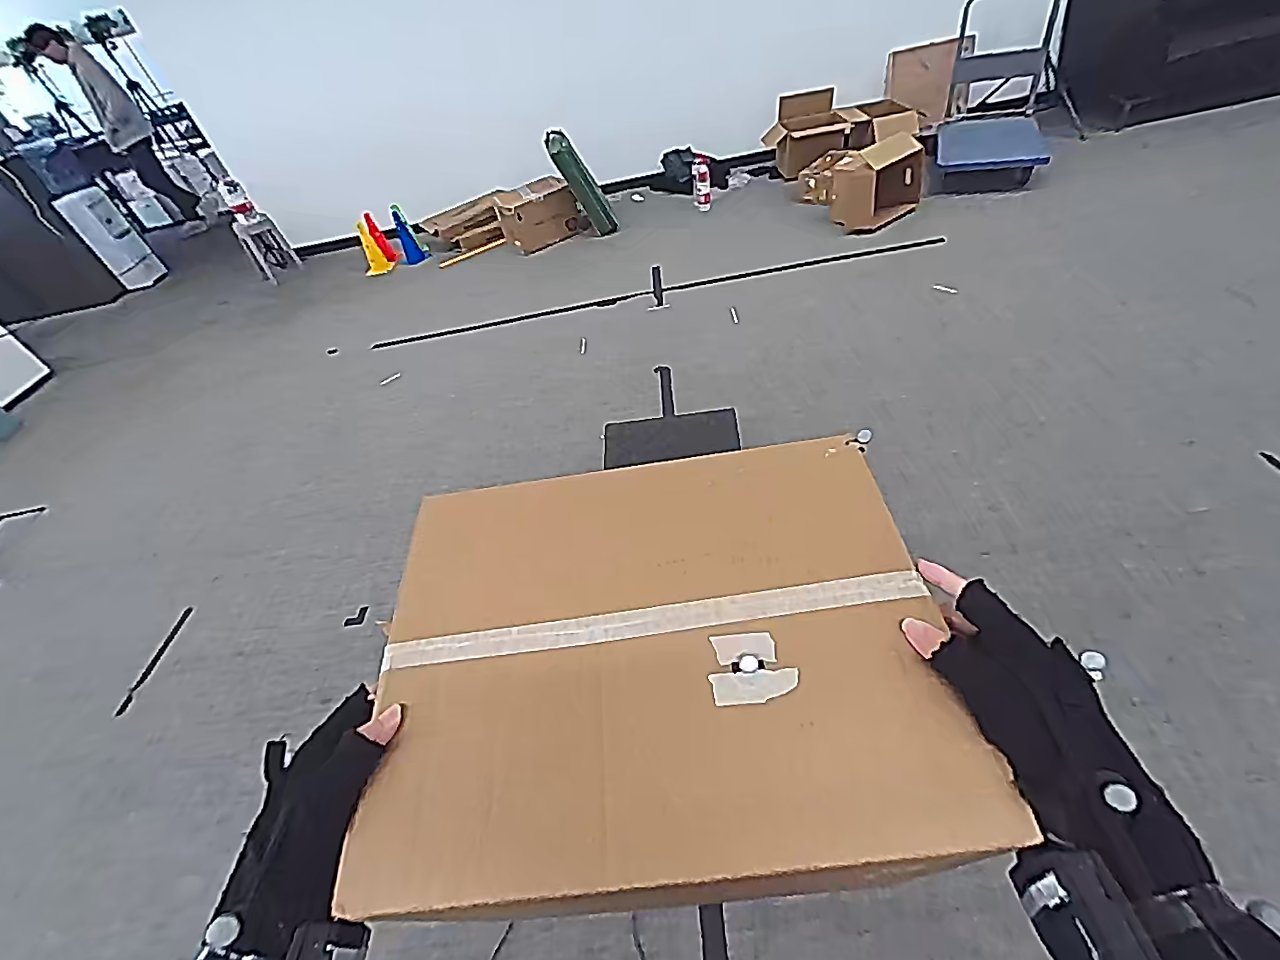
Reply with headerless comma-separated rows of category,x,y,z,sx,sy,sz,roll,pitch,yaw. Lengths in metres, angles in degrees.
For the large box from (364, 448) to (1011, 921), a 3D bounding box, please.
large box,0.029,0.210,0.531,0.408,0.320,0.320,-8,50,3
